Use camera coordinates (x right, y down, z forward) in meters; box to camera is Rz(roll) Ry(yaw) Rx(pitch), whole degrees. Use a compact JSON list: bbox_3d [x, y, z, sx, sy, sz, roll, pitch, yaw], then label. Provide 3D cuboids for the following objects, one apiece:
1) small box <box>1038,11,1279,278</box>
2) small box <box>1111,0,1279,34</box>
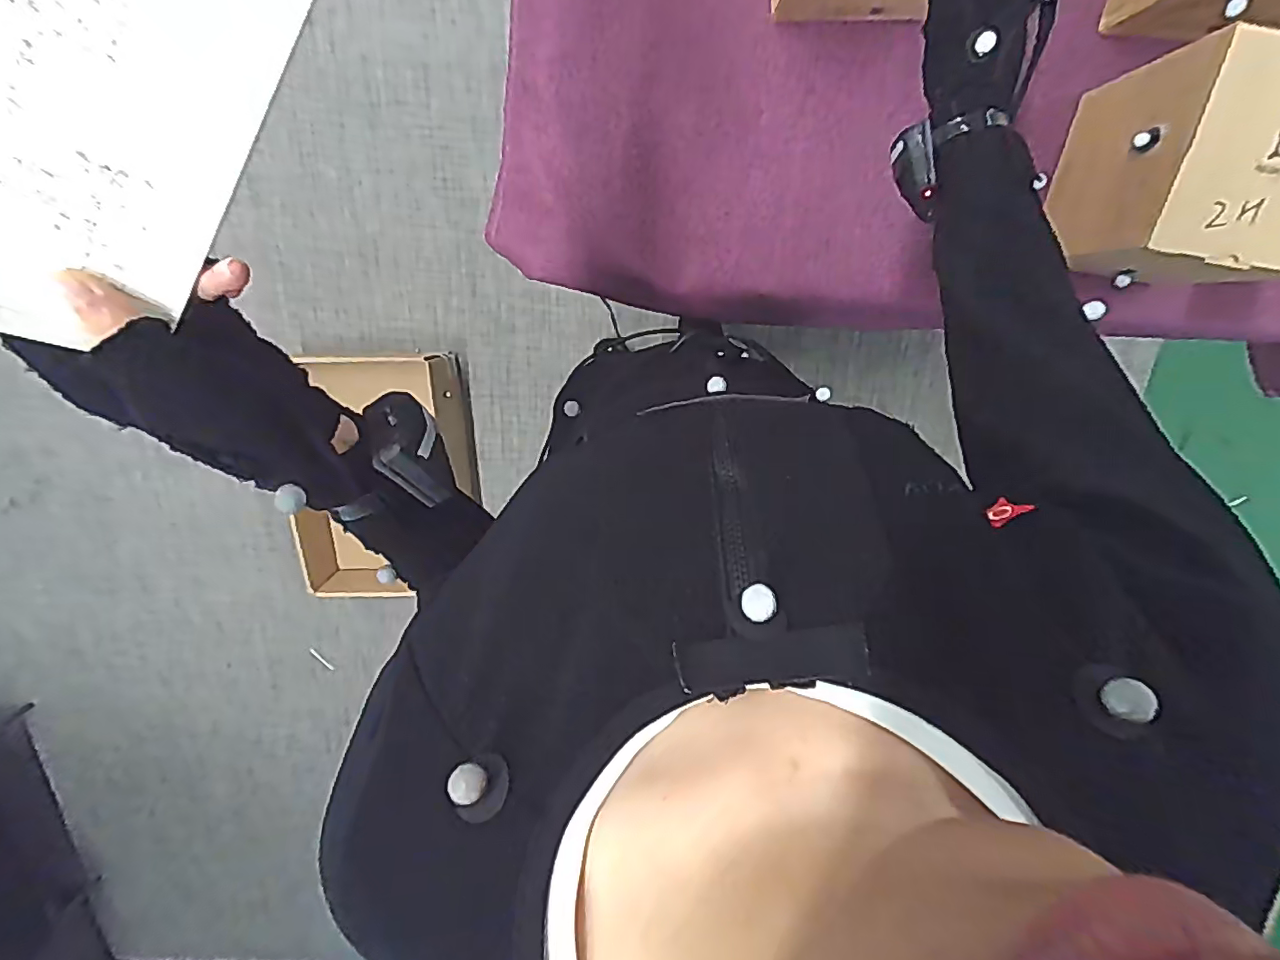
[{"bbox_3d":[0.550,-0.308,0.539,0.168,0.176,0.179,9,108,-2],"label":"small box"},{"bbox_3d":[0.569,-0.524,0.469,0.168,0.176,0.179,3,108,-1],"label":"small box"}]
